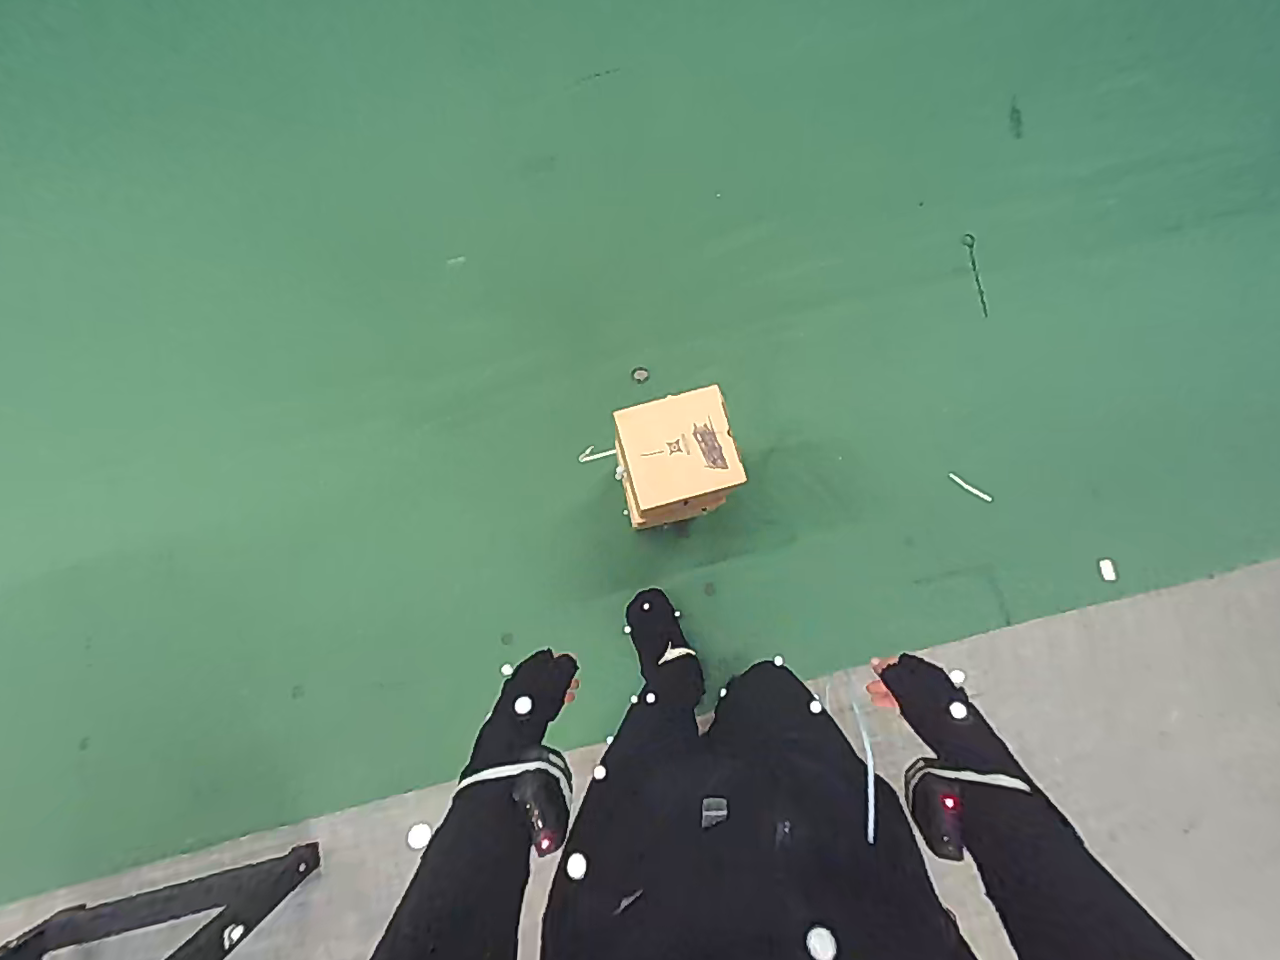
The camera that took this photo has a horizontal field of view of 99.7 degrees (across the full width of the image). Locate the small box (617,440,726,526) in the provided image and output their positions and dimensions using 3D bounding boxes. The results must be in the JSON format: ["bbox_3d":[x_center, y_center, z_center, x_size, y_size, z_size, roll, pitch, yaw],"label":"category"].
[{"bbox_3d":[0.059,-0.006,1.093,0.179,0.176,0.168,-14,83,-3],"label":"small box"}]

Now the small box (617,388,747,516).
[{"bbox_3d":[0.065,-0.040,0.931,0.179,0.176,0.168,-16,82,-2],"label":"small box"}]
